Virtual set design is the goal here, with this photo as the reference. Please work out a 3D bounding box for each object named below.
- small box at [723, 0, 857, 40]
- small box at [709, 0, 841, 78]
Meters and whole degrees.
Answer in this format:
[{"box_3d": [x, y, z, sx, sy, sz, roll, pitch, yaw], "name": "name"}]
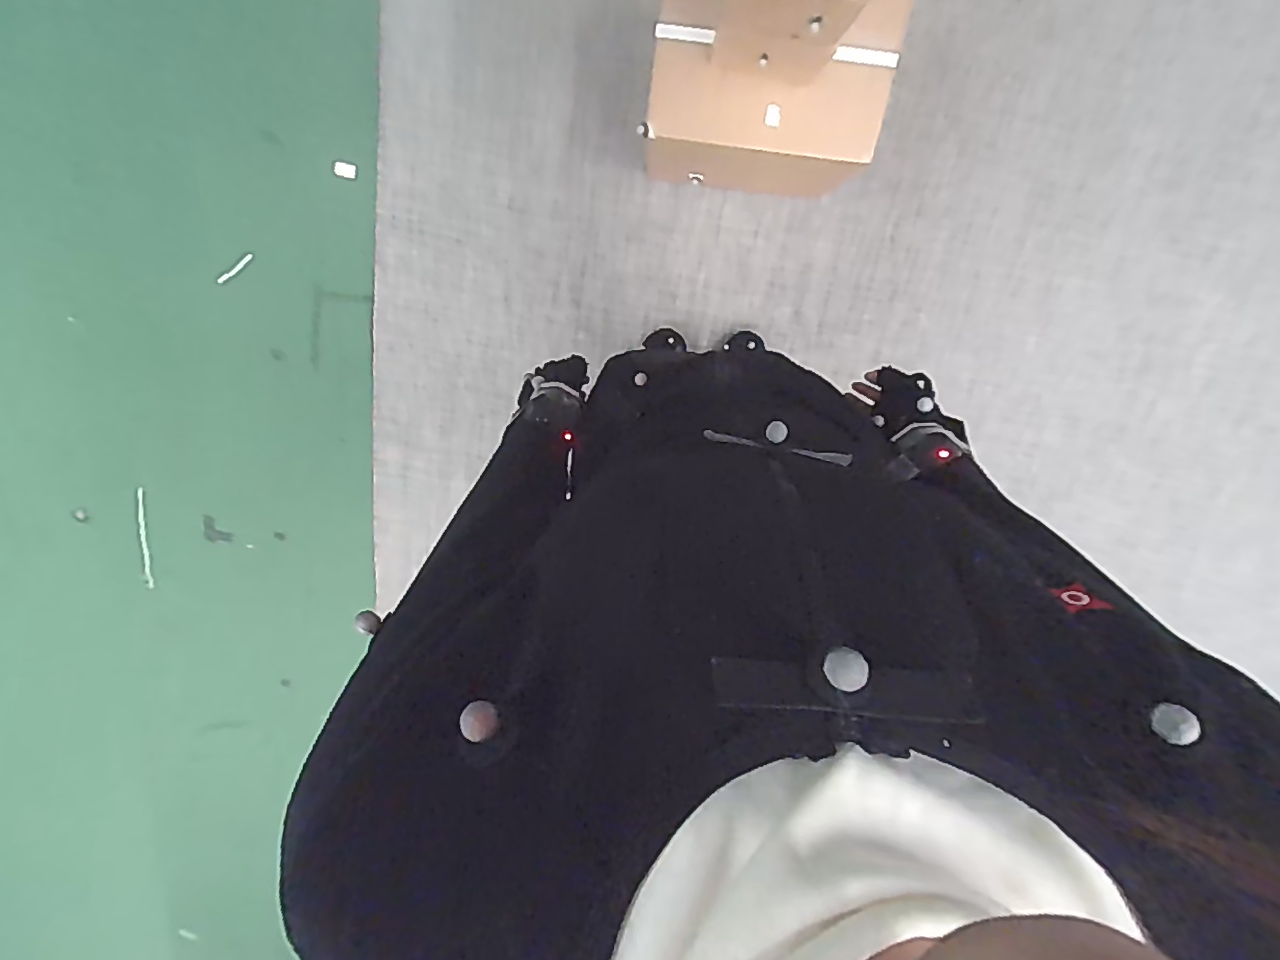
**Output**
[{"box_3d": [0.202, -0.678, 0.656, 0.168, 0.176, 0.179, 10, 112, -3], "name": "small box"}, {"box_3d": [0.213, -0.735, 0.805, 0.179, 0.176, 0.168, 14, 111, -3], "name": "small box"}]
